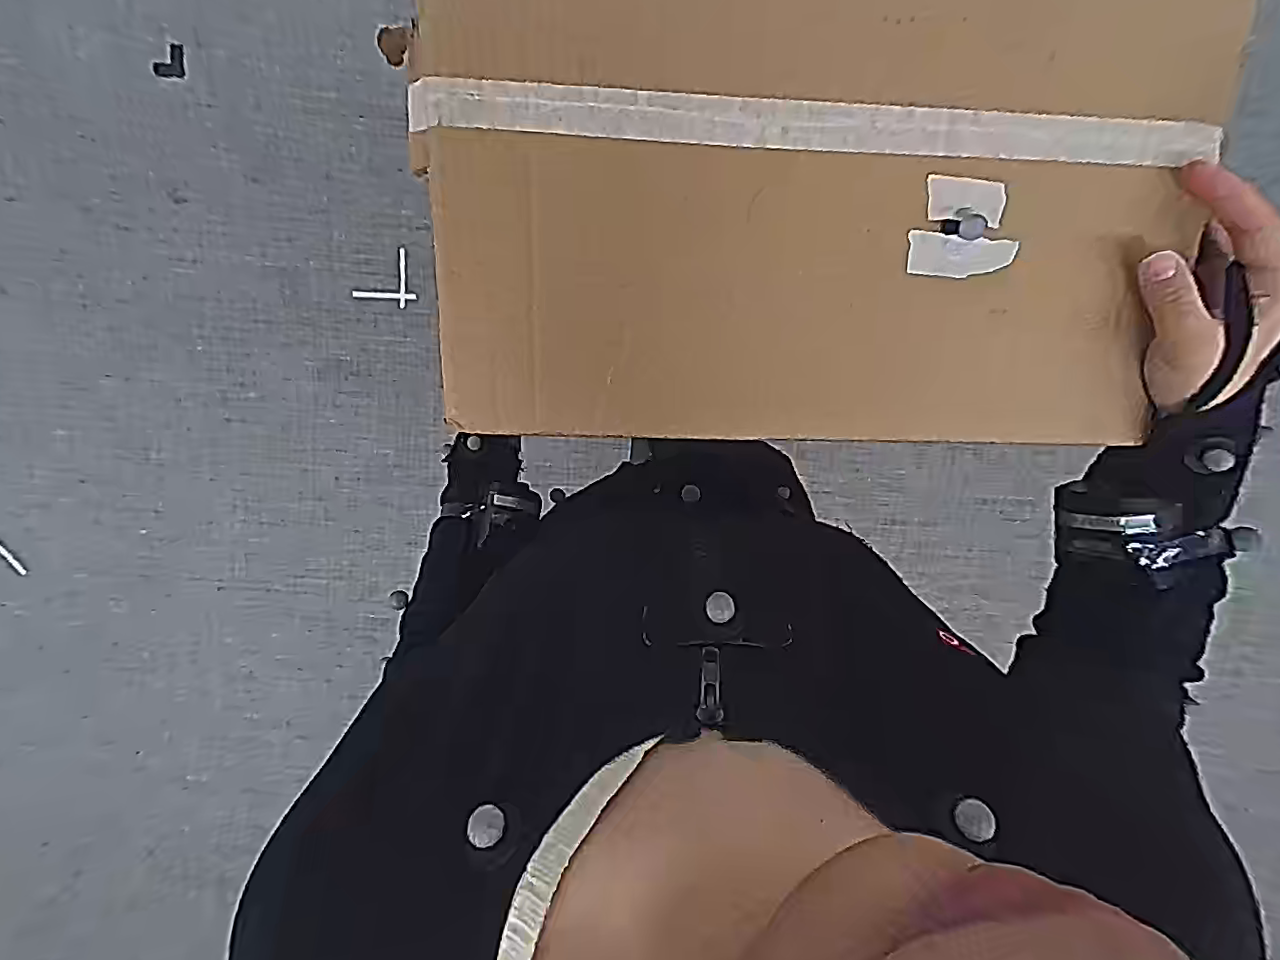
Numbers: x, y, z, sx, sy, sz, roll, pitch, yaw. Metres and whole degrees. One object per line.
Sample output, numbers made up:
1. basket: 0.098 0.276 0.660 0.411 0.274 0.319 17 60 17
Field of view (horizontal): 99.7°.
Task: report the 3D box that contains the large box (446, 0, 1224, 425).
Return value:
1. large box: 0.089 -0.216 0.425 0.408 0.320 0.320 1 103 -6
